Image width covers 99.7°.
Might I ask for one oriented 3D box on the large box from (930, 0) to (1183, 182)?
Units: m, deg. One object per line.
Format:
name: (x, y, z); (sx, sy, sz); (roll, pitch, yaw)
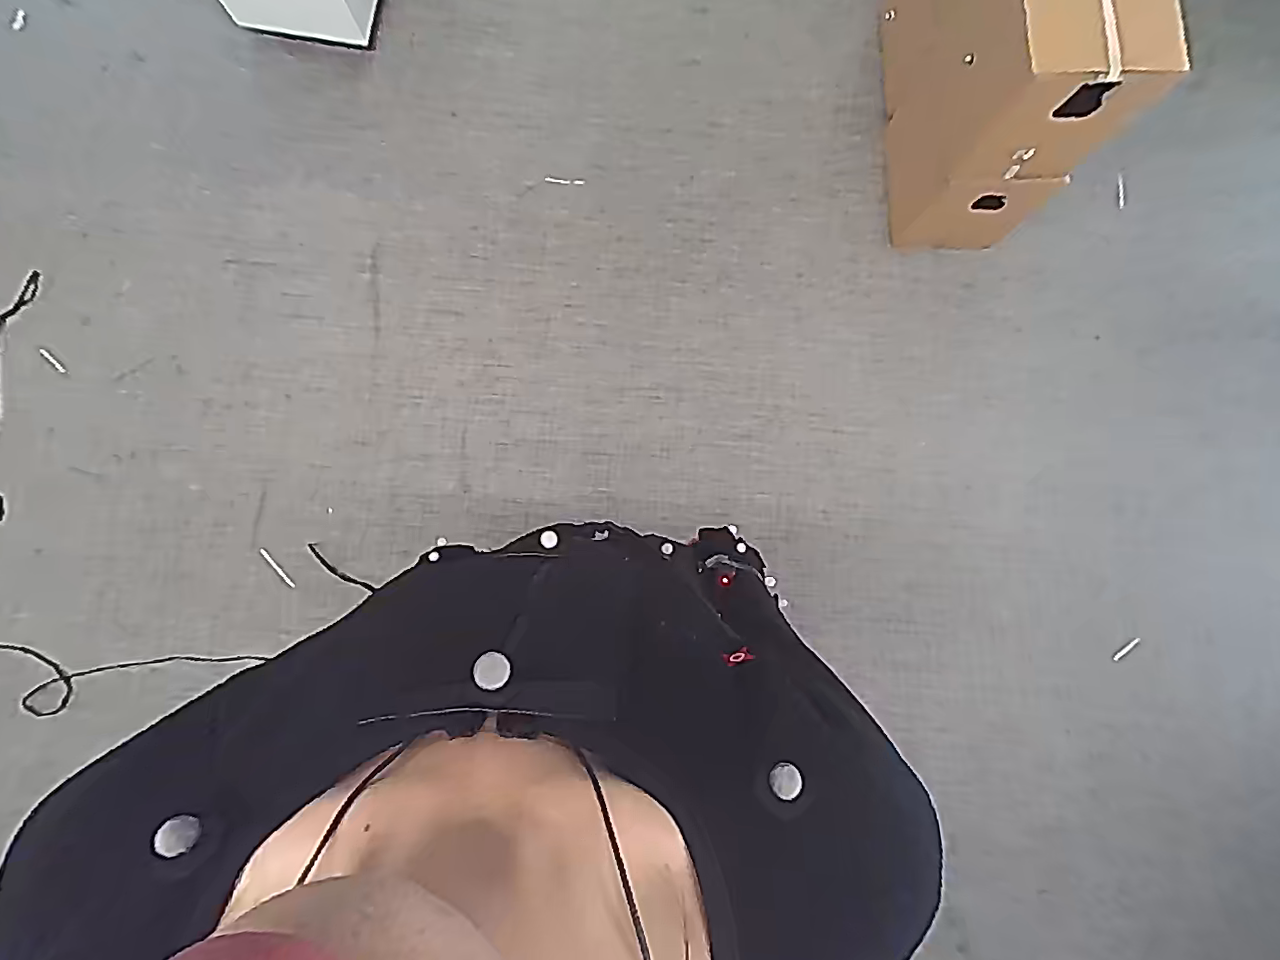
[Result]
large box: (0.907, -0.966, 1.233); (0.320, 0.320, 0.408); (-1, 82, -1)
